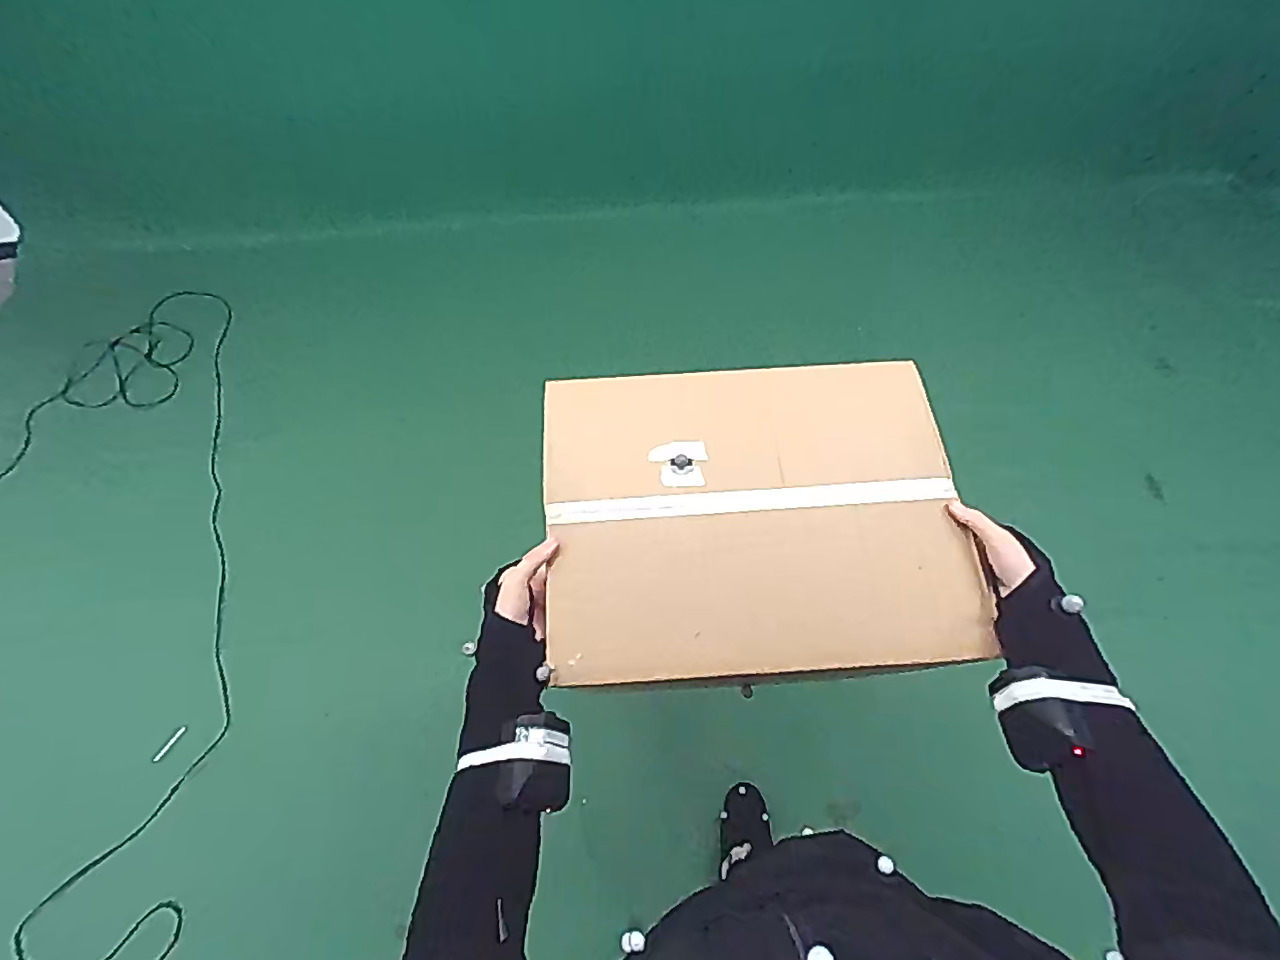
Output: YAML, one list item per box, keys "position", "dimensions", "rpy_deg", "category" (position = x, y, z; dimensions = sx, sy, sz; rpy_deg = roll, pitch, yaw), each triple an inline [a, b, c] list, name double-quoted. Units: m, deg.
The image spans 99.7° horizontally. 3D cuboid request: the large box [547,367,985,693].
- position: [0.112, 0.087, 0.682]
  dimensions: [0.408, 0.320, 0.320]
  rpy_deg: [-4, 66, 0]
  category: "large box"
